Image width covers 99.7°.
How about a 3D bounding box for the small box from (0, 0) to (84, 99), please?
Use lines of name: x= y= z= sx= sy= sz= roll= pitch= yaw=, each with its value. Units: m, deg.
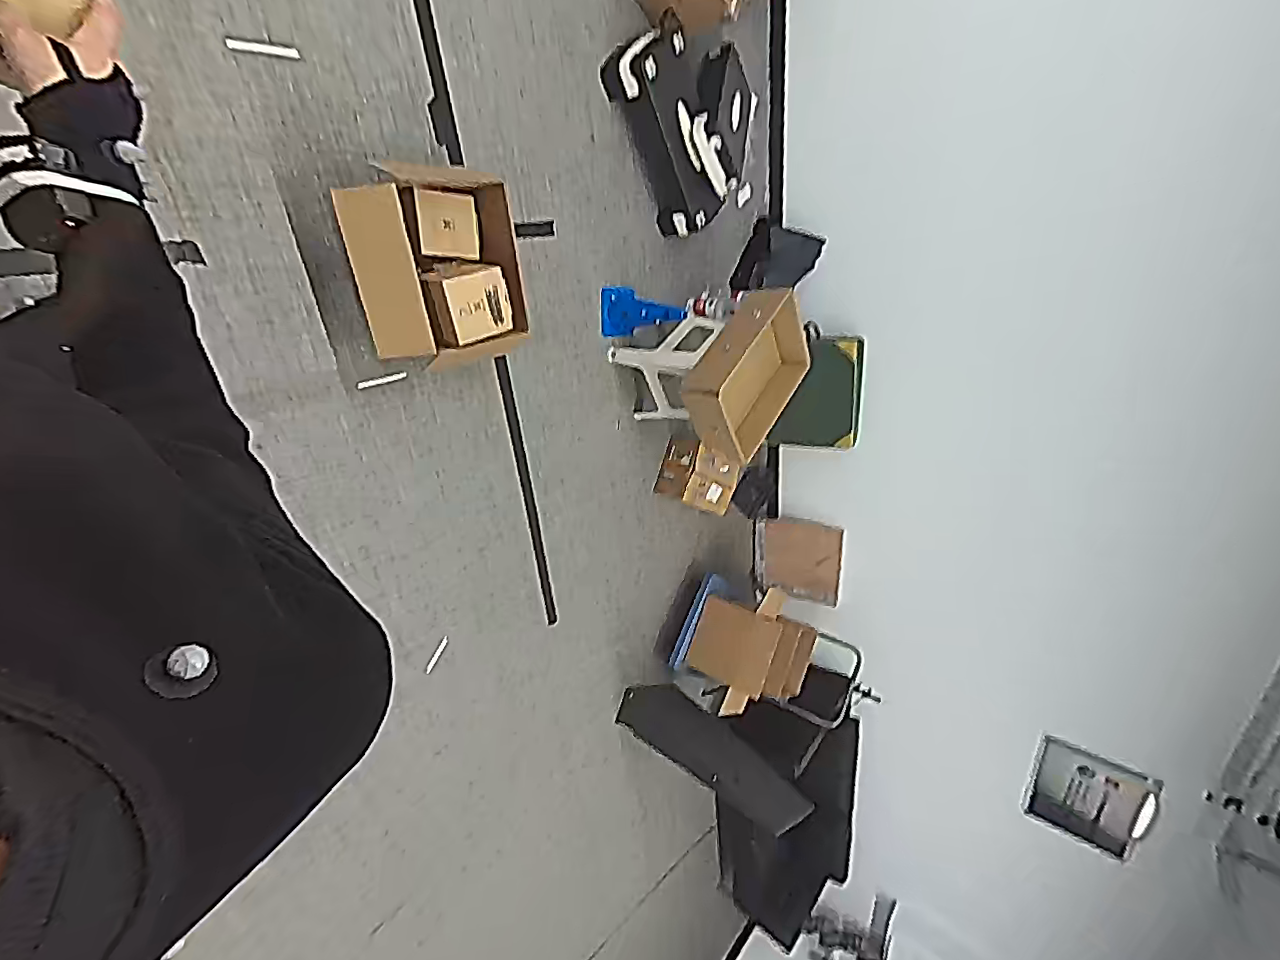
small box: x=-0.554 y=-0.434 z=0.413 sx=0.168 sy=0.176 sz=0.179 roll=-2 pitch=108 yaw=-52
